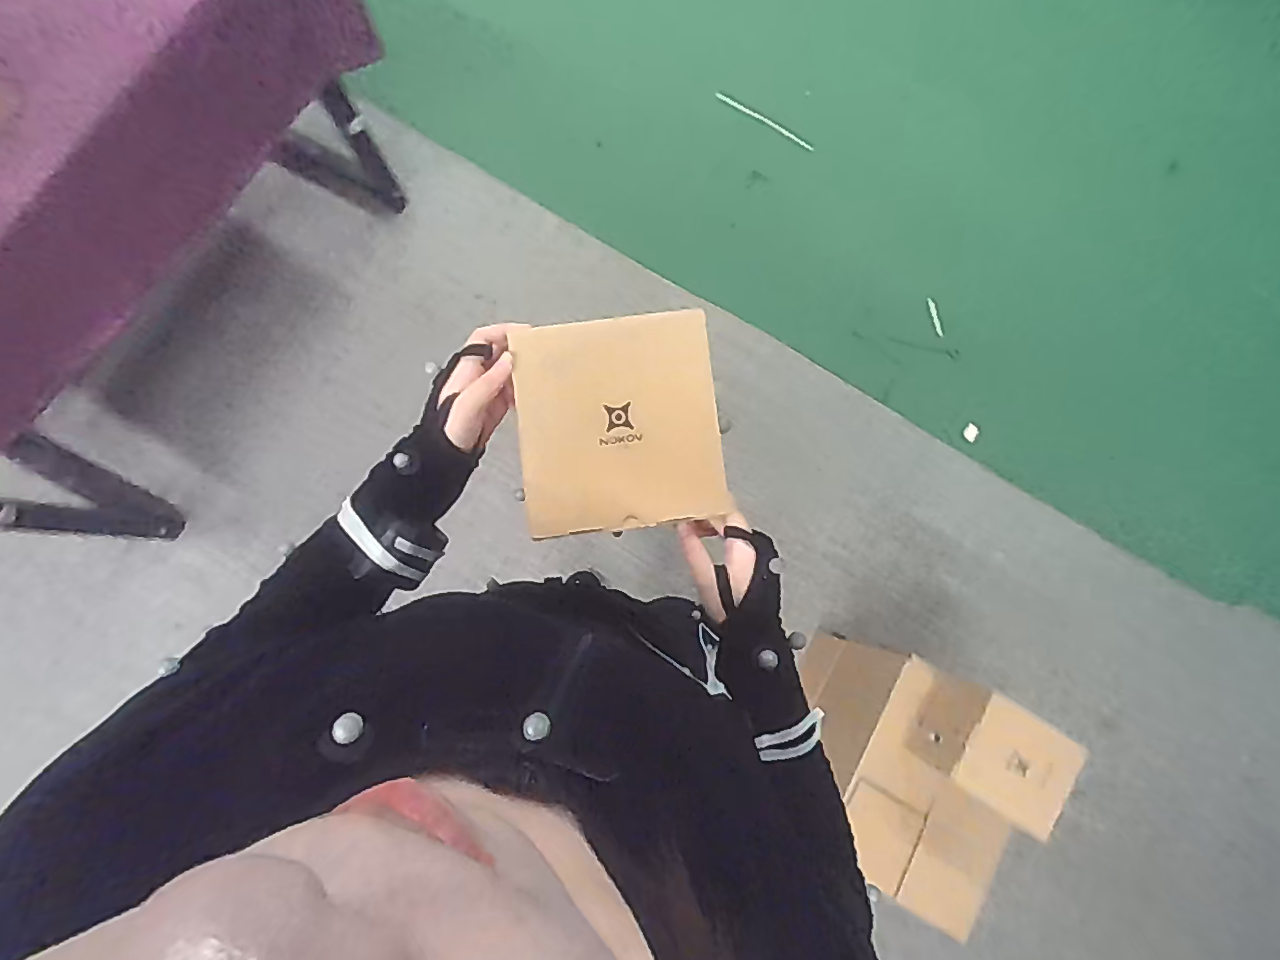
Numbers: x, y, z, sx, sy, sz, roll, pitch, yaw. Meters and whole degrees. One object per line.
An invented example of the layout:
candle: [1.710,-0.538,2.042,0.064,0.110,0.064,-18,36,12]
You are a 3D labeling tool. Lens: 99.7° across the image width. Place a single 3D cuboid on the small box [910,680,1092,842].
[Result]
small box: [0.617,0.475,0.950,0.179,0.176,0.168,33,83,4]
